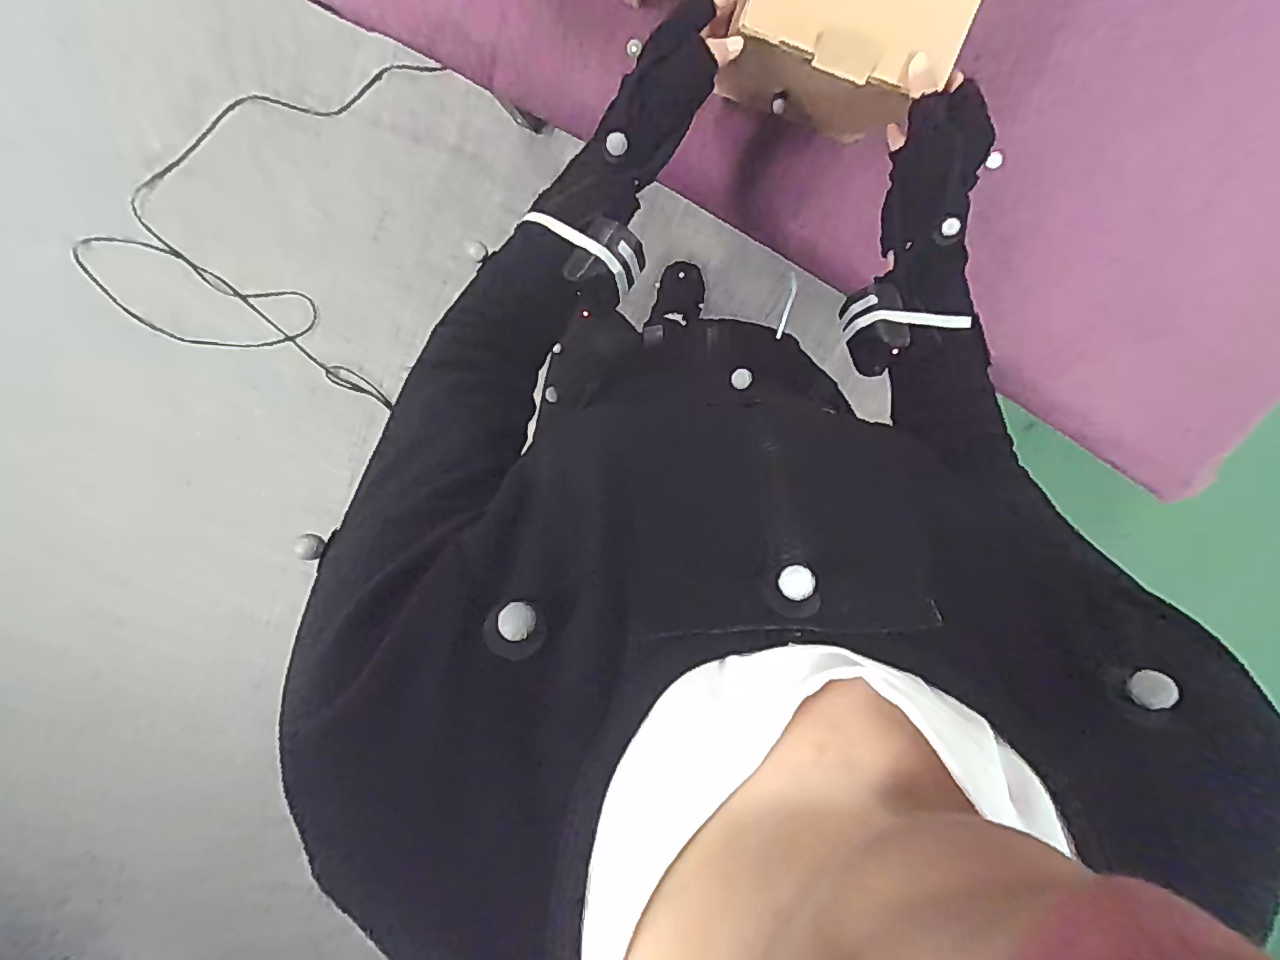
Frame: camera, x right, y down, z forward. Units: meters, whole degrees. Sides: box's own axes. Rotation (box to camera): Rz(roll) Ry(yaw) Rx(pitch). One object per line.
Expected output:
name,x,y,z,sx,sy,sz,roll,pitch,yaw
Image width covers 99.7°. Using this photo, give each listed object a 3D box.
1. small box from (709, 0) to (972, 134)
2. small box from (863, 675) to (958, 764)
small box,0.168,-0.423,0.453,0.168,0.176,0.179,14,113,-9
small box,0.846,0.749,1.713,0.179,0.176,0.168,26,109,-10
